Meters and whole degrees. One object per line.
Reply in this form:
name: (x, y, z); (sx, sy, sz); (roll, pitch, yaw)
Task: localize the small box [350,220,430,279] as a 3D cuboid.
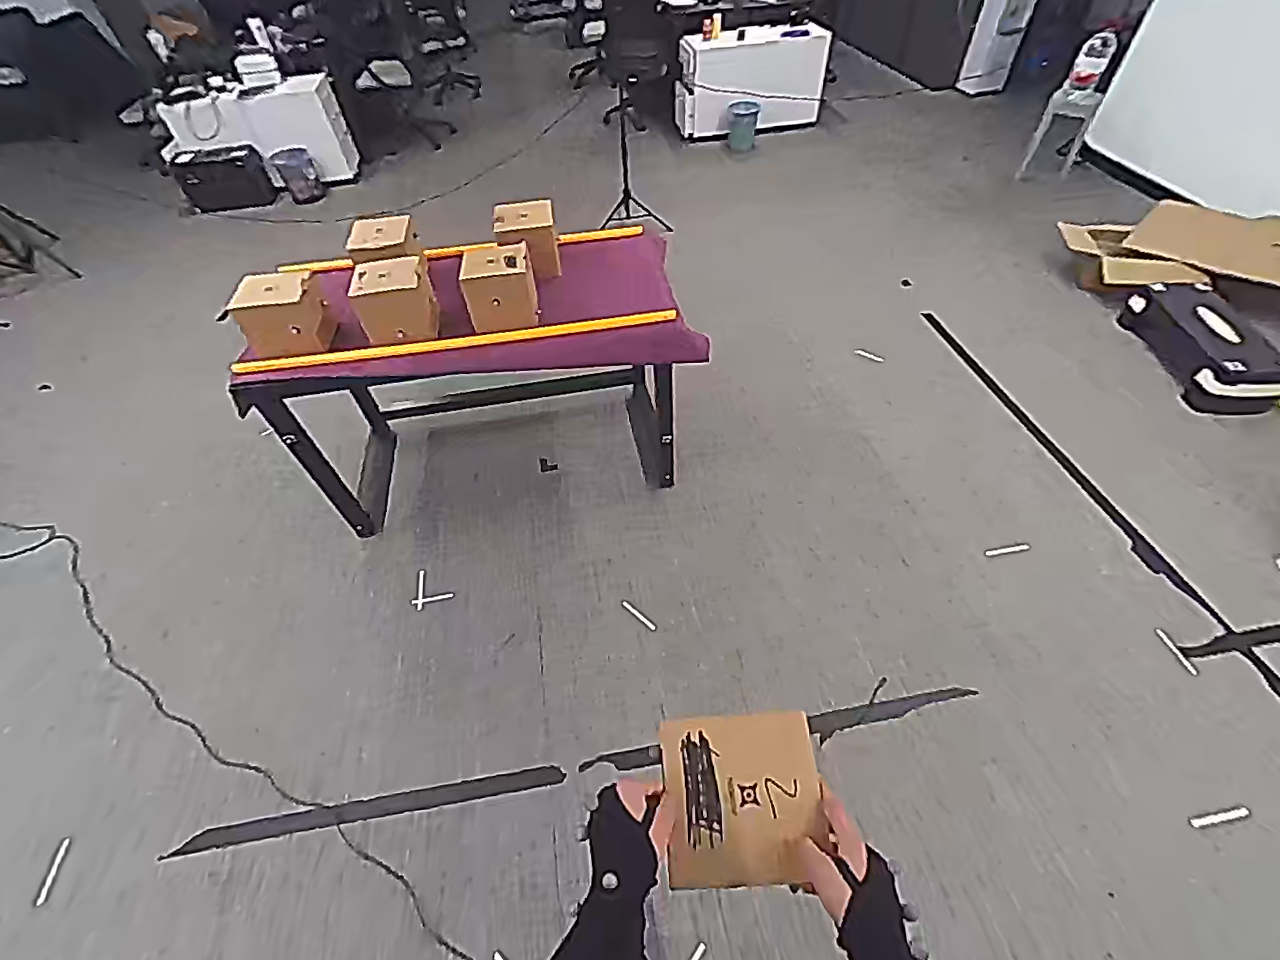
small box: (-0.763, -0.674, 1.670); (0.168, 0.176, 0.179); (-9, 52, -3)

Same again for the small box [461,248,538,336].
small box: (-0.386, -0.528, 1.524); (0.179, 0.176, 0.168); (-8, 49, -1)

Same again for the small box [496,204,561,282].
small box: (-0.345, -0.737, 1.697); (0.179, 0.176, 0.168); (-9, 51, -3)

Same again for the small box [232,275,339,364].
small box: (-0.959, -0.439, 1.485); (0.179, 0.176, 0.168); (-8, 50, -6)

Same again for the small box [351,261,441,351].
small box: (-0.667, -0.481, 1.503); (0.179, 0.176, 0.168); (-9, 50, -5)
